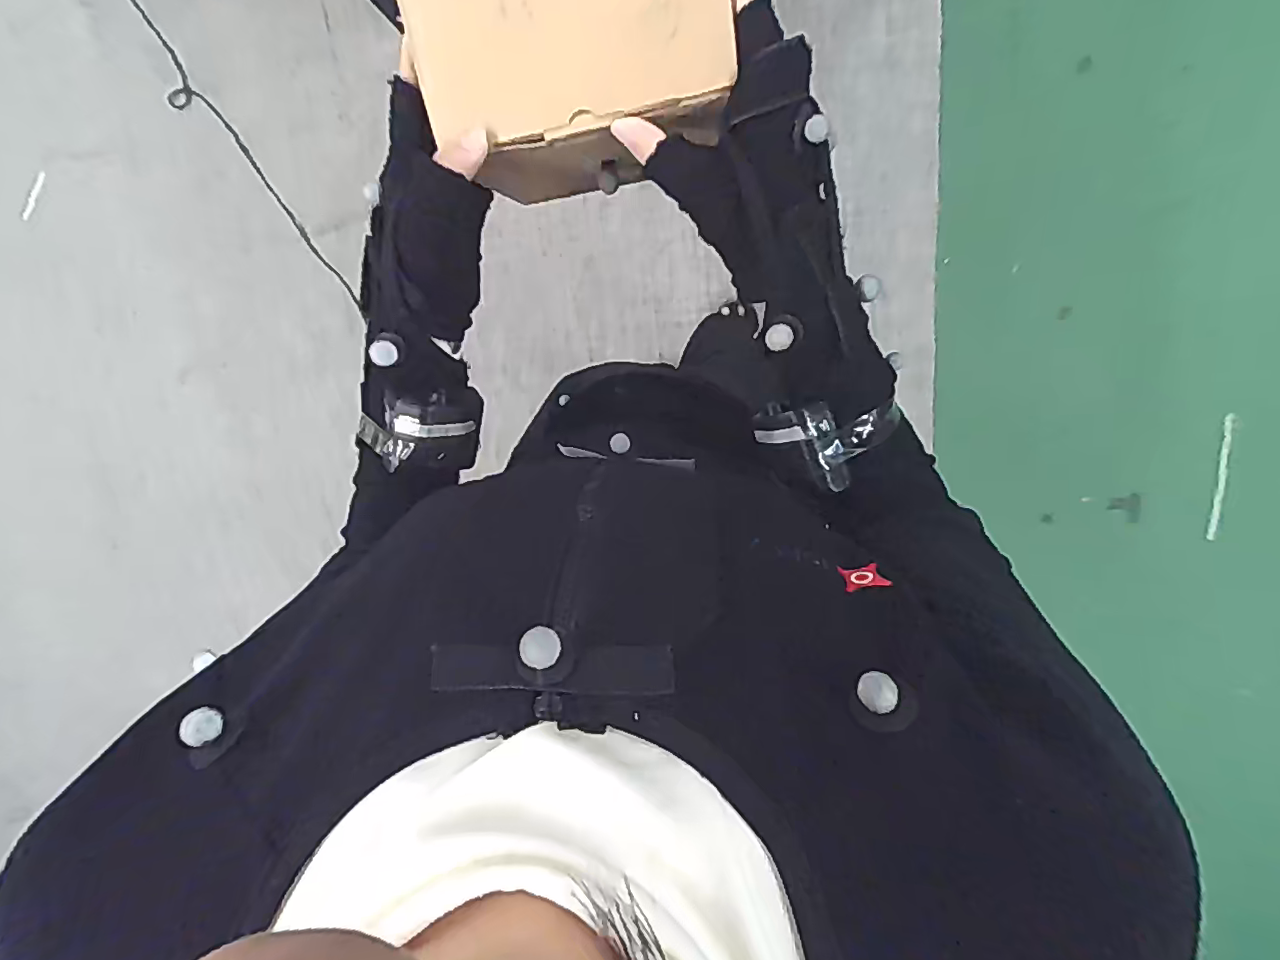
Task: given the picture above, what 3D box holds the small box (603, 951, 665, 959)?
[{"bbox_3d":[-0.017,1.378,1.408,0.179,0.176,0.168,-4,103,8],"label":"small box"}]
